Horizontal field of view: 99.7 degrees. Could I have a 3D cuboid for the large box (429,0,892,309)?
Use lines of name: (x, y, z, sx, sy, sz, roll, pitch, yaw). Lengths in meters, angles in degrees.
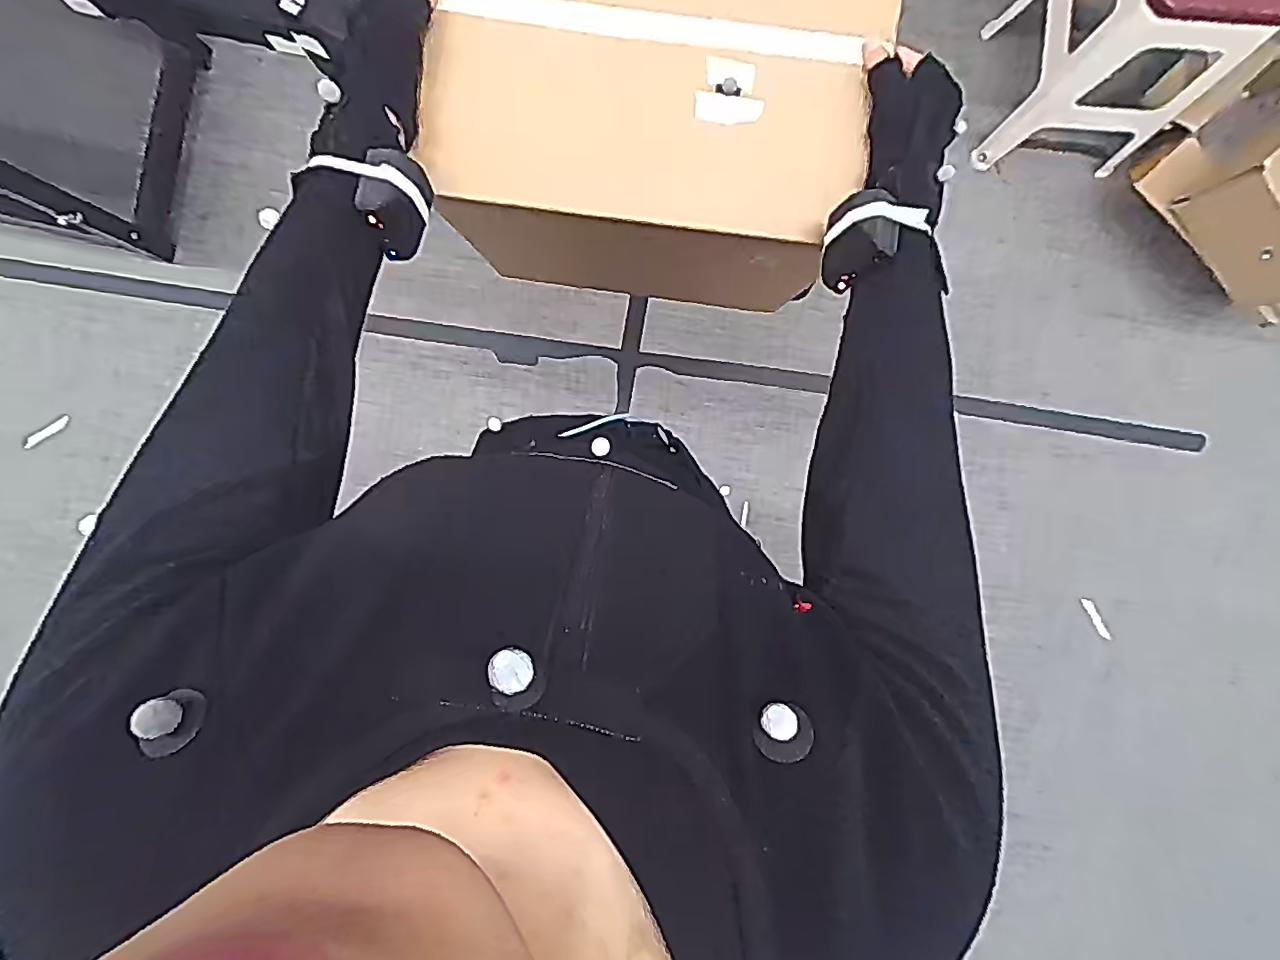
large box: (0.015, -0.403, 0.627, 0.408, 0.320, 0.320, 7, 97, -2)
